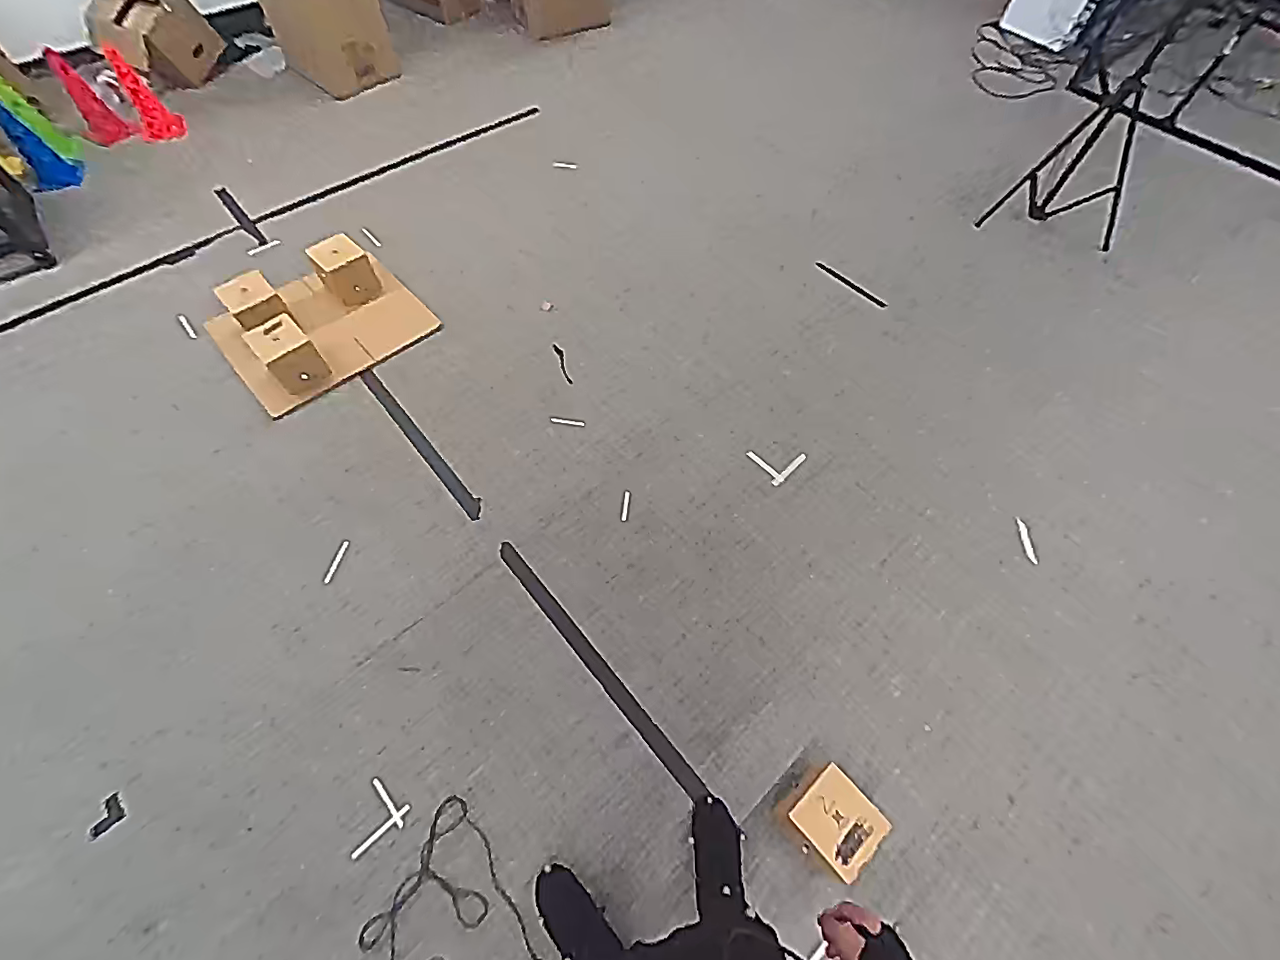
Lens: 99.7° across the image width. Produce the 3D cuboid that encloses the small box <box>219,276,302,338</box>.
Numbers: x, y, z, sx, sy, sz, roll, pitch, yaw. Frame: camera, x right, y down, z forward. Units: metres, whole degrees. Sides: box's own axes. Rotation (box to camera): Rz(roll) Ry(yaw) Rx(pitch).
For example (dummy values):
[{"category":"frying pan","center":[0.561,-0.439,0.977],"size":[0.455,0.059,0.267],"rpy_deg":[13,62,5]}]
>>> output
[{"category":"small box","center":[-1.425,-0.626,2.037],"size":[0.168,0.176,0.179],"rpy_deg":[-39,68,-21]}]

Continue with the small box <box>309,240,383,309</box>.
[{"category":"small box","center":[-1.172,-0.820,2.166],"size":[0.179,0.176,0.168],"rpy_deg":[40,66,19]}]

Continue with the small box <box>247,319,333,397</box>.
[{"category":"small box","center":[-1.244,-0.432,1.932],"size":[0.168,0.176,0.179],"rpy_deg":[-40,69,-21]}]
